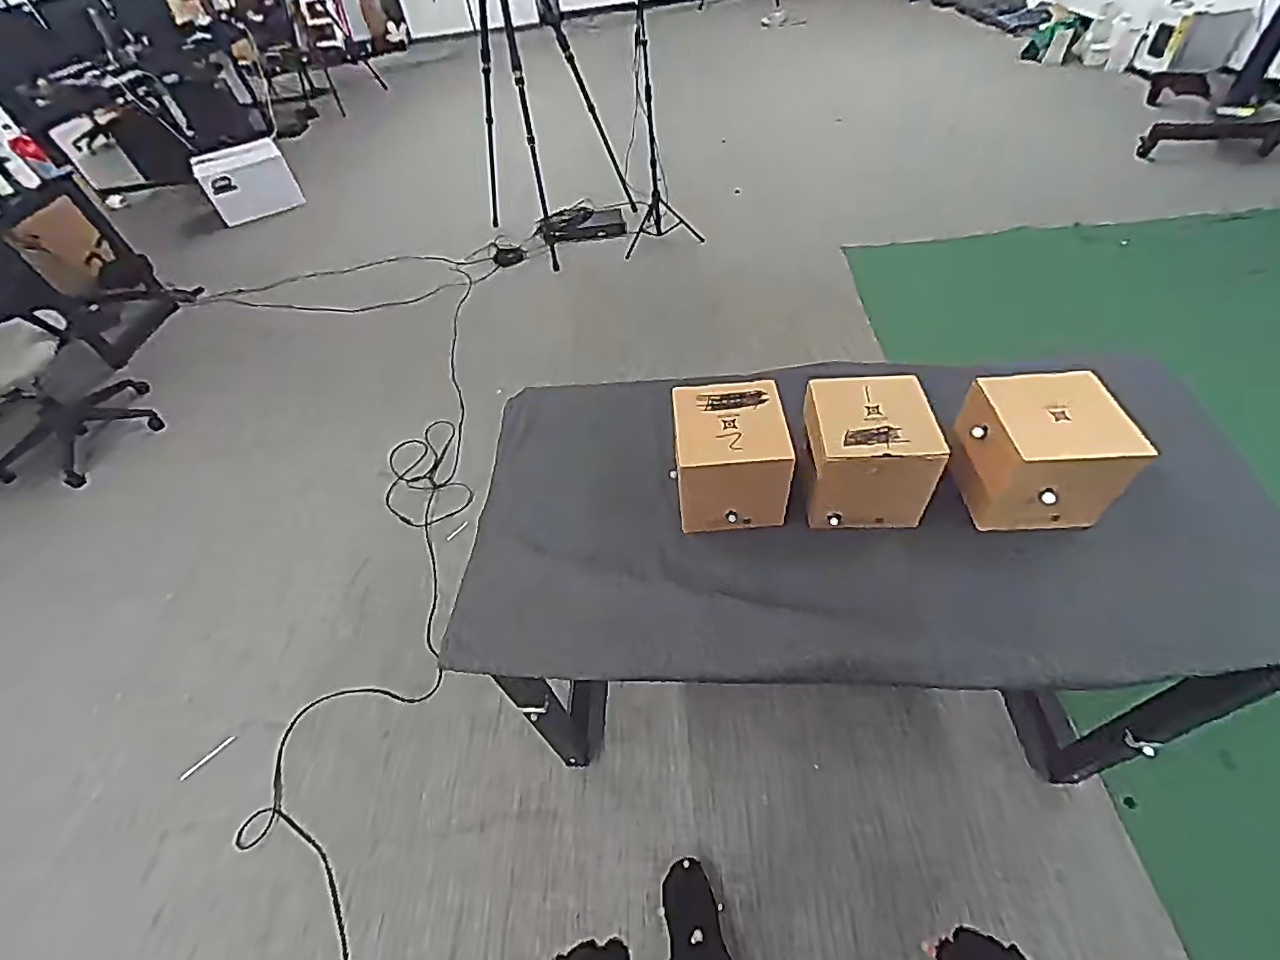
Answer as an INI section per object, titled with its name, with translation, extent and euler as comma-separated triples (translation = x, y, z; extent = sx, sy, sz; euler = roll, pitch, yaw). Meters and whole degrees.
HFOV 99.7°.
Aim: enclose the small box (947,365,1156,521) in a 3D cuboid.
[small box]
translation = 0.597, -0.048, 0.816
extent = 0.168, 0.176, 0.179
euler = -3, 50, 6
